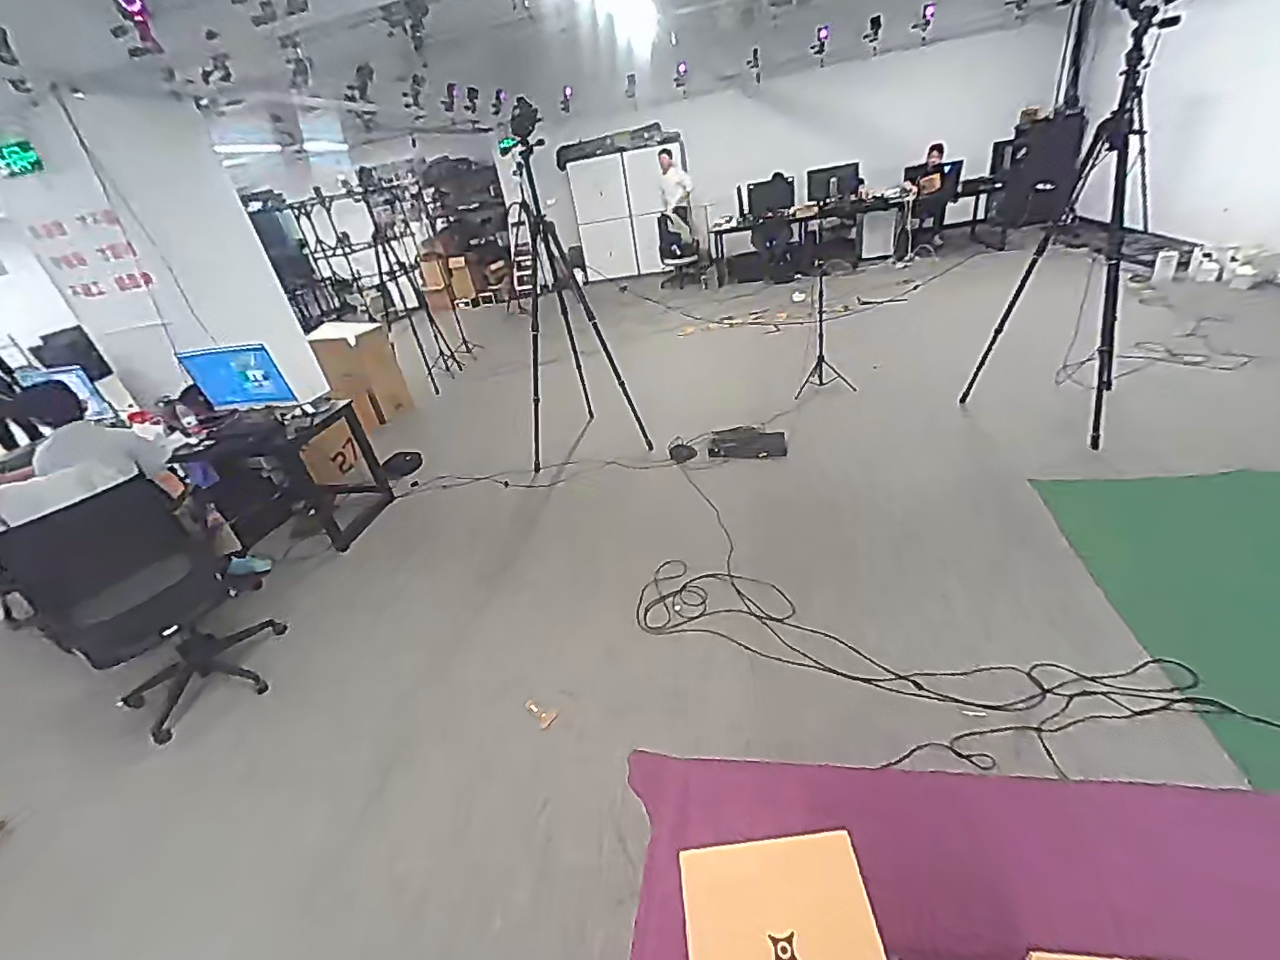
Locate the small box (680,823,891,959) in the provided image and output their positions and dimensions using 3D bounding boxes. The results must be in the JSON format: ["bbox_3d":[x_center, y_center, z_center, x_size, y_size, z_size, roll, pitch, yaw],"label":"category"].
[{"bbox_3d":[0.135,0.452,0.500,0.168,0.176,0.179,-11,39,4],"label":"small box"}]

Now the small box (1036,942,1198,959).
[{"bbox_3d":[0.505,0.610,0.538,0.168,0.176,0.179,-4,31,12],"label":"small box"}]
